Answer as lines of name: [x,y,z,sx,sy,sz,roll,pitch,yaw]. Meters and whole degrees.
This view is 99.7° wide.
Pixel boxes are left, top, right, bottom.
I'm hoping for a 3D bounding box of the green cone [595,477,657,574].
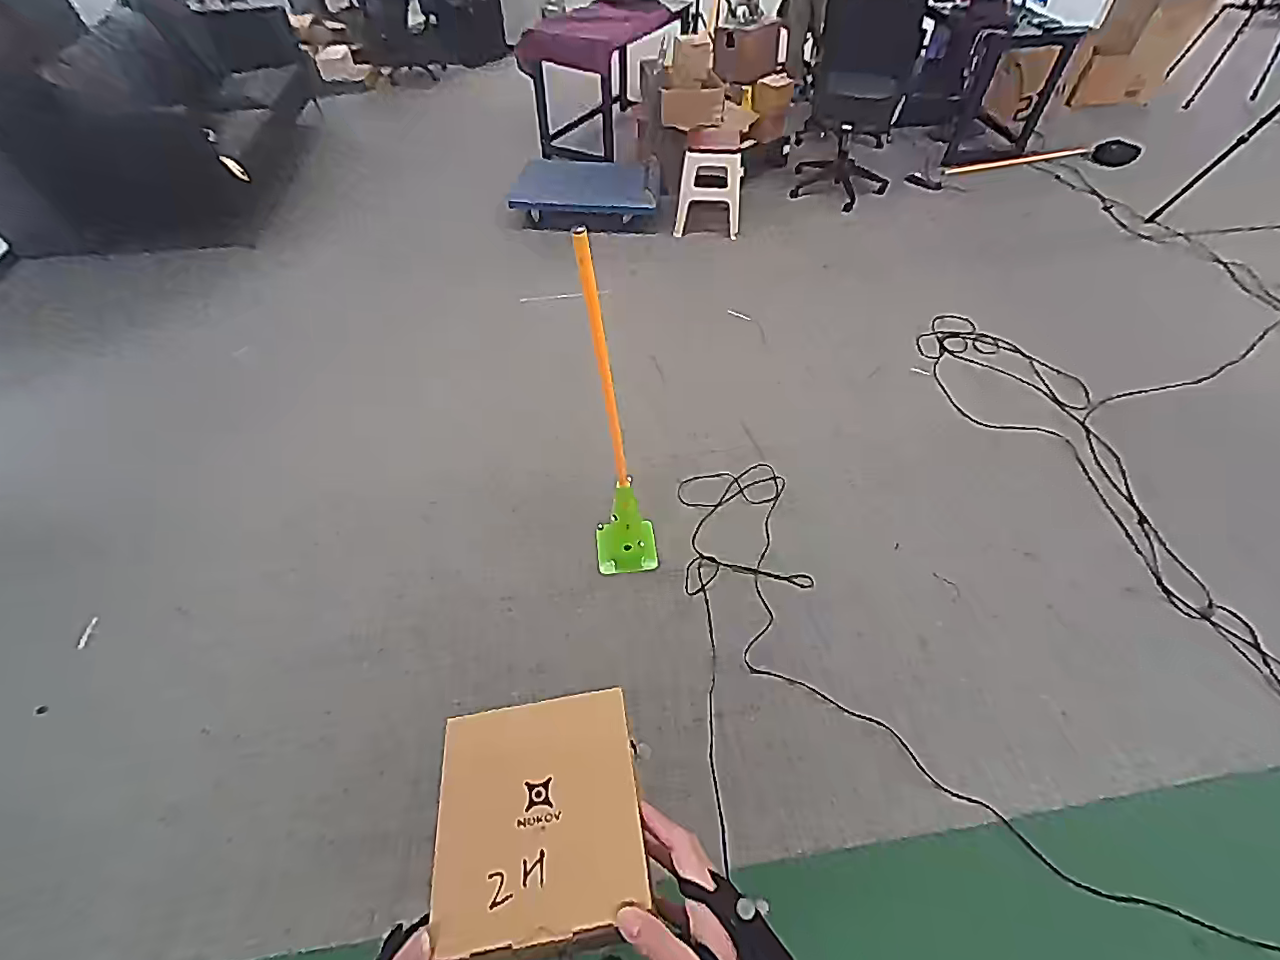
green cone: [-0.048,0.122,1.715,0.202,0.368,0.200,-5,51,-5]
